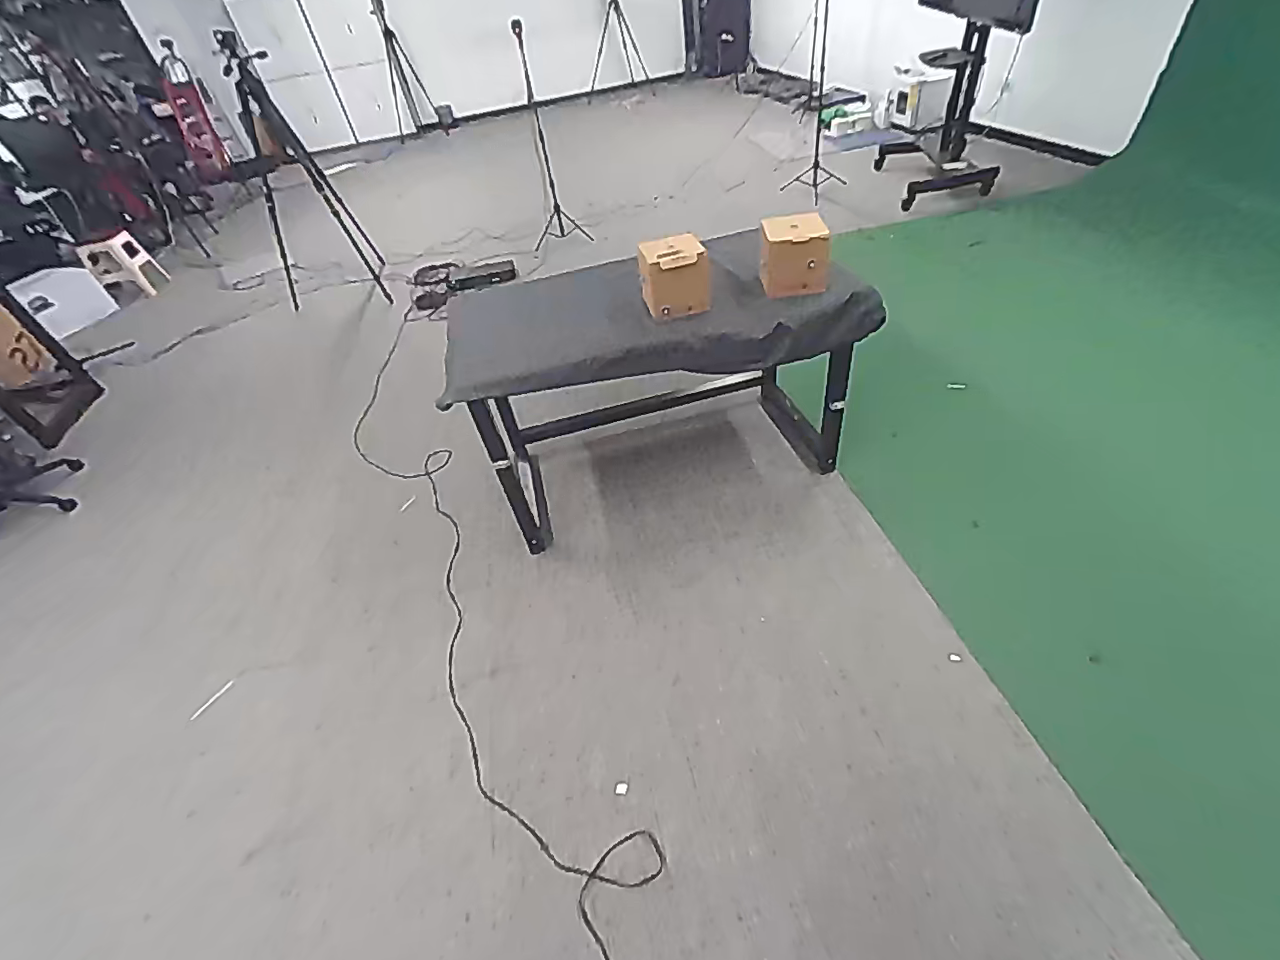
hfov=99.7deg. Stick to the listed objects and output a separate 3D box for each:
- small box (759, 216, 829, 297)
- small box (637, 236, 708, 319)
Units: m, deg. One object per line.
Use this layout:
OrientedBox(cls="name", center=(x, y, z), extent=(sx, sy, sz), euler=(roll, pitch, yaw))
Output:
OrientedBox(cls="small box", center=(0.439, -0.642, 1.569), extent=(0.168, 0.176, 0.179), euler=(-5, 42, 5))
OrientedBox(cls="small box", center=(0.097, -0.583, 1.570), extent=(0.168, 0.176, 0.179), euler=(-13, 42, -3))
